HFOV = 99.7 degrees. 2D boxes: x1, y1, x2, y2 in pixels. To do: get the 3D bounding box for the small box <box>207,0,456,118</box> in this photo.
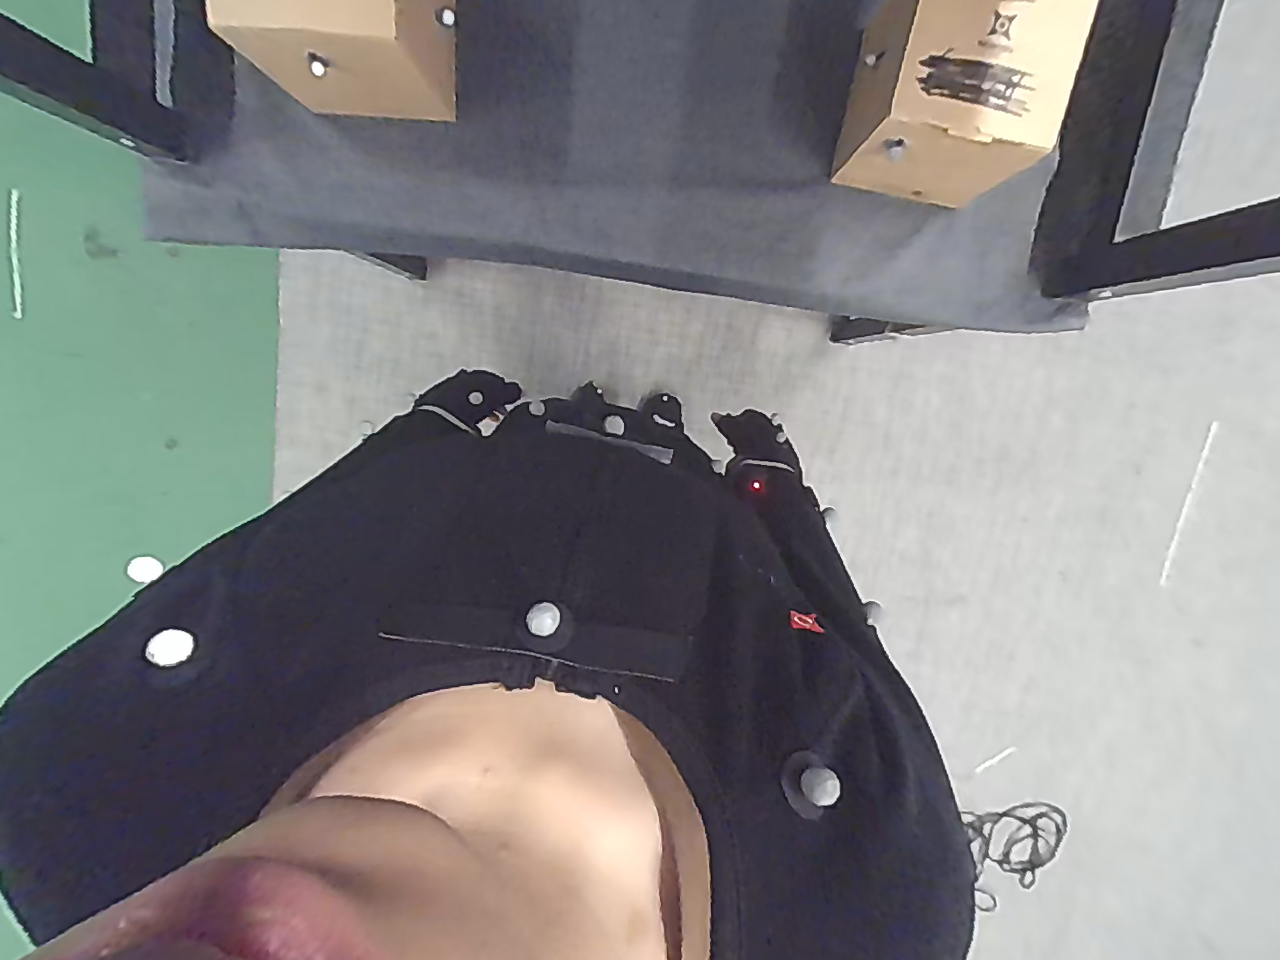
[{"bbox_3d":[-0.308,-0.509,0.565,0.179,0.176,0.168,3,101,-2],"label":"small box"}]
